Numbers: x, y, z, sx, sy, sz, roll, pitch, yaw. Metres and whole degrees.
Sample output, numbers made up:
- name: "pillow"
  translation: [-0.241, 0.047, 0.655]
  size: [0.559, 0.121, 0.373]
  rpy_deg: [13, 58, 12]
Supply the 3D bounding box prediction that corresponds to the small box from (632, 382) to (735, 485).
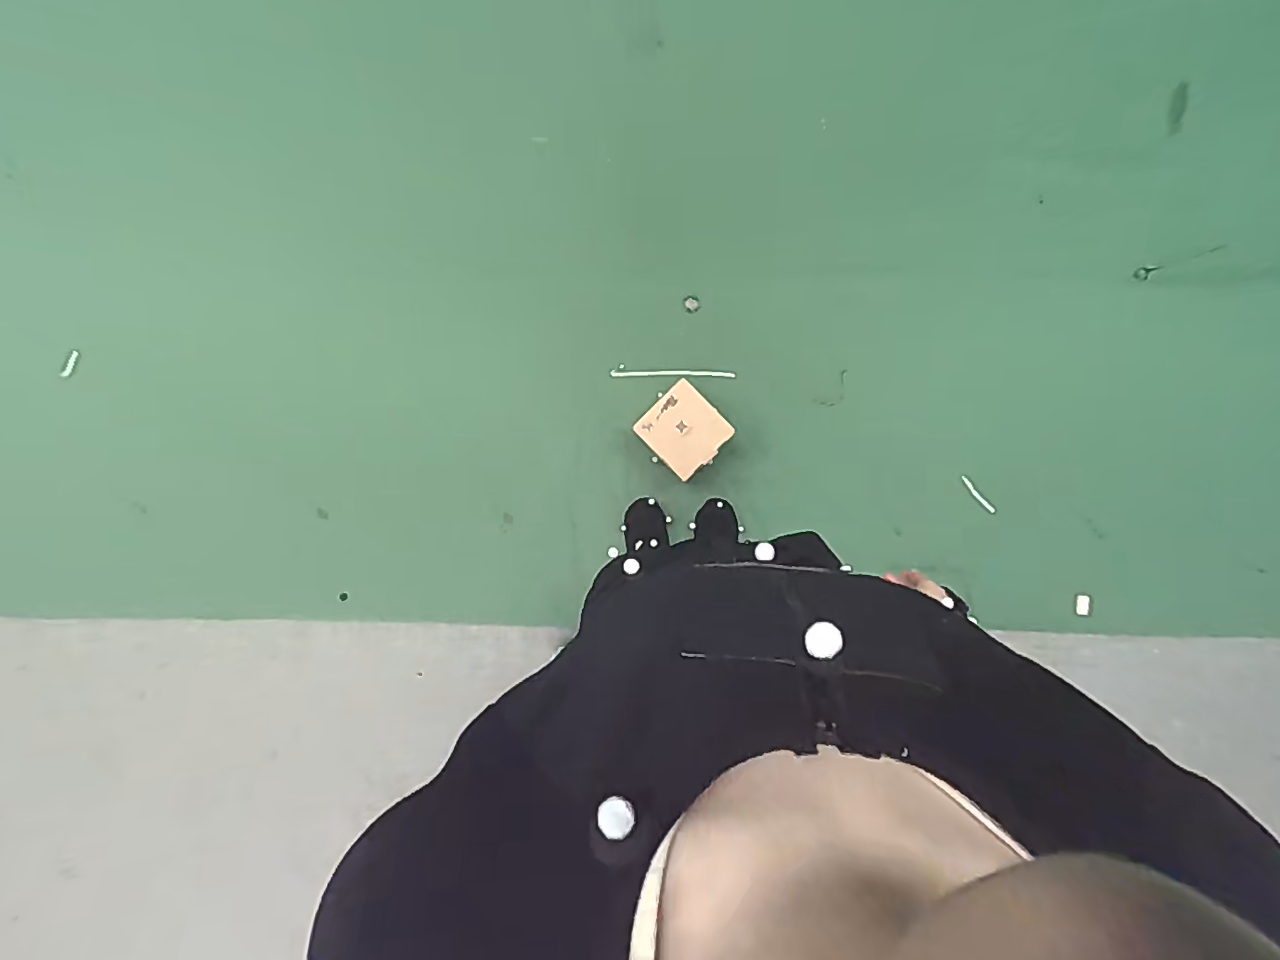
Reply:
- name: "small box"
  translation: [0.100, -0.107, 1.293]
  size: [0.168, 0.176, 0.179]
  rpy_deg: [-44, 89, 2]
